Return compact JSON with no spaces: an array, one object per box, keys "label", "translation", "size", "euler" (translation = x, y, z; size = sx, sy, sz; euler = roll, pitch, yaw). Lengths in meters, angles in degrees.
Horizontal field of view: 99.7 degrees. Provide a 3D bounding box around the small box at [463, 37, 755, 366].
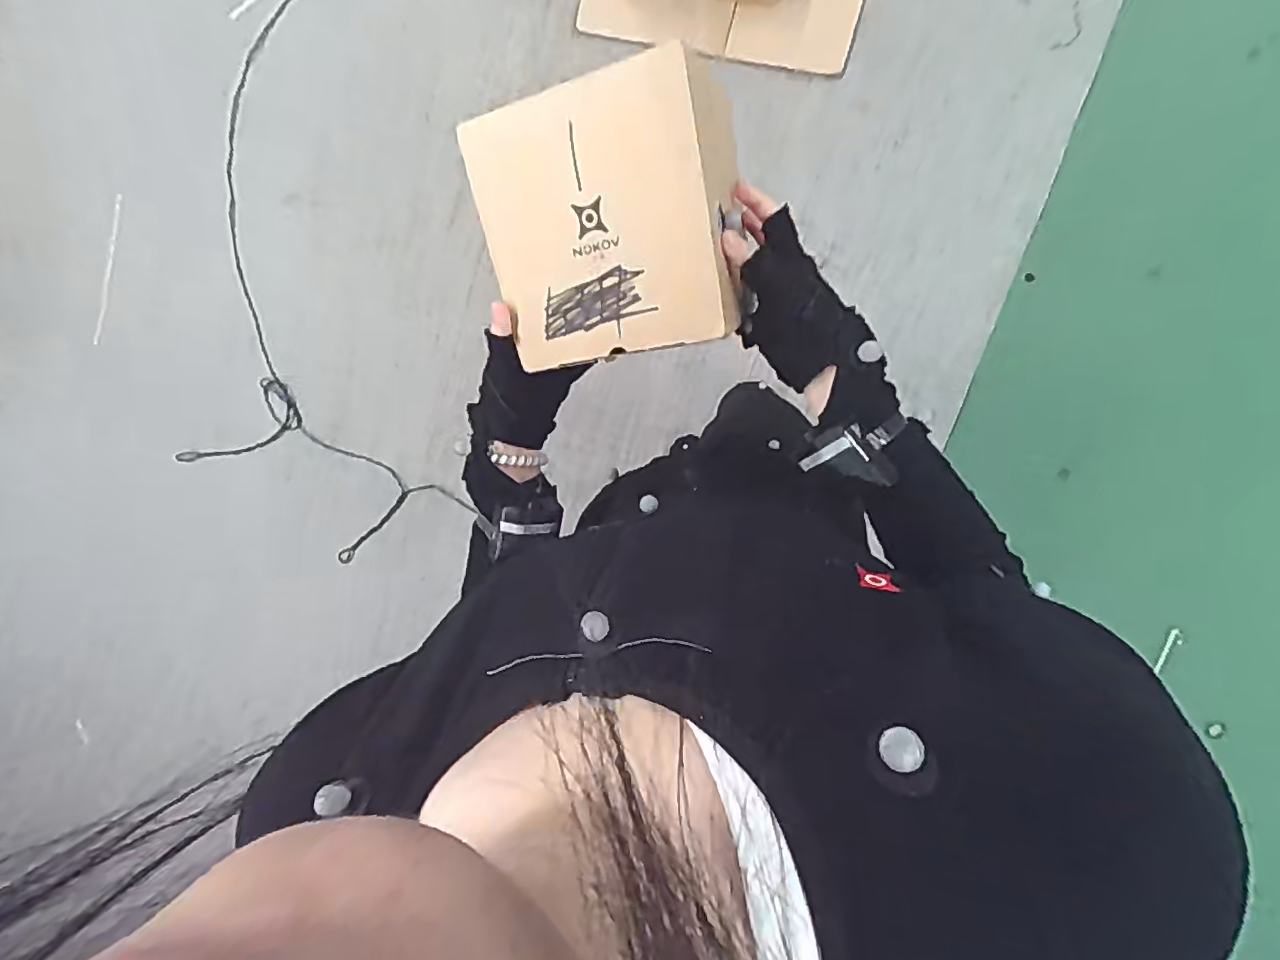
[{"label":"small box","translation":[-0.005,-0.207,0.441],"size":[0.168,0.176,0.179],"euler":[-5,112,21]}]
